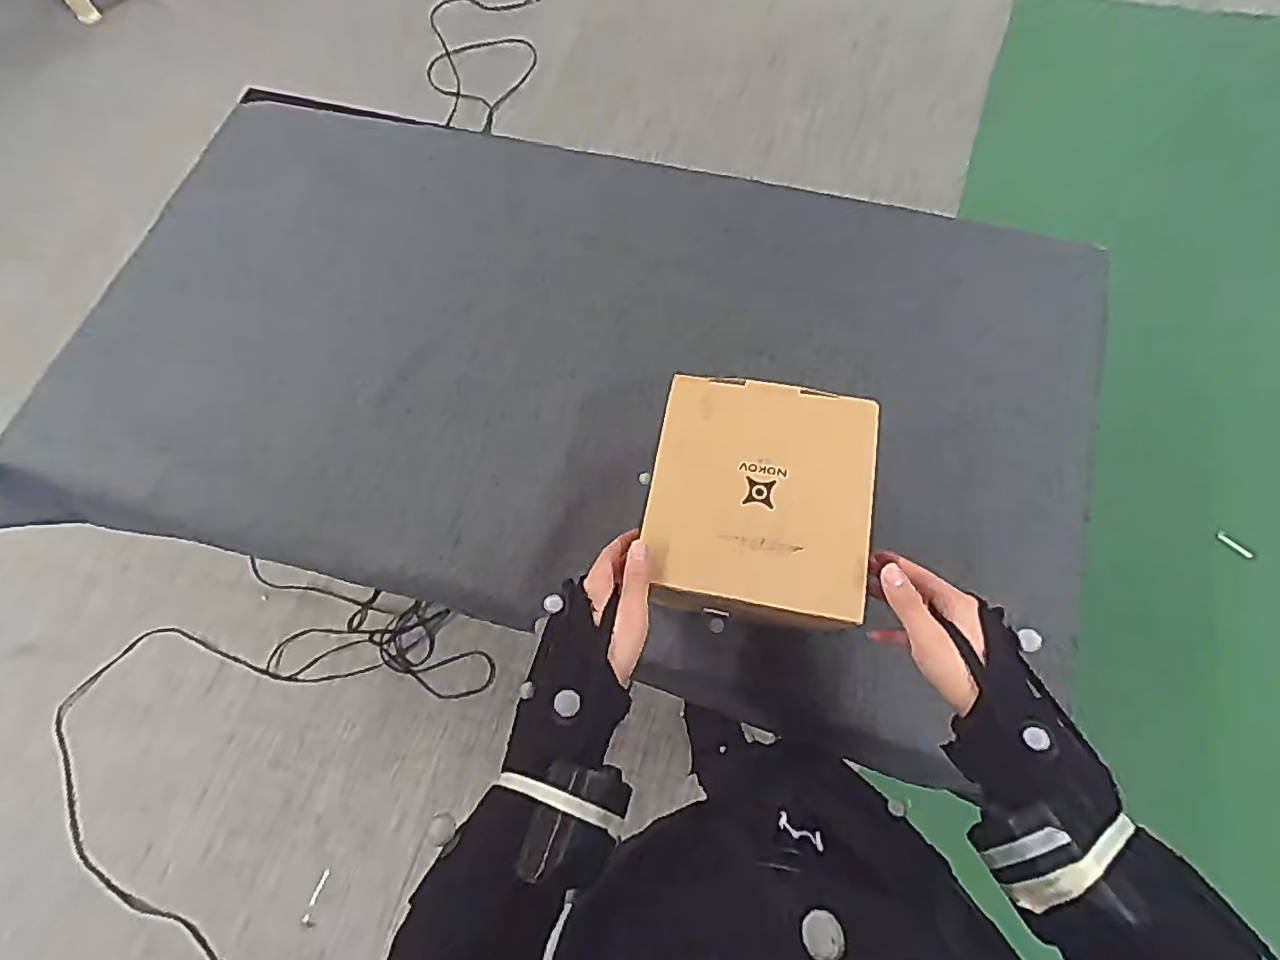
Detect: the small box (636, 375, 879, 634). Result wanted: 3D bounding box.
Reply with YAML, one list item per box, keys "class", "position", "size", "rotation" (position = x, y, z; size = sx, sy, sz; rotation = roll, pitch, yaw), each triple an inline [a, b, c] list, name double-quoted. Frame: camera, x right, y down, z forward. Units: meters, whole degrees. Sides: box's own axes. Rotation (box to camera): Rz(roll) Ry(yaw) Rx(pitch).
- class: "small box"
  position: [0.097, 0.032, 0.482]
  size: [0.168, 0.176, 0.179]
  rotation: [9, 73, 8]
